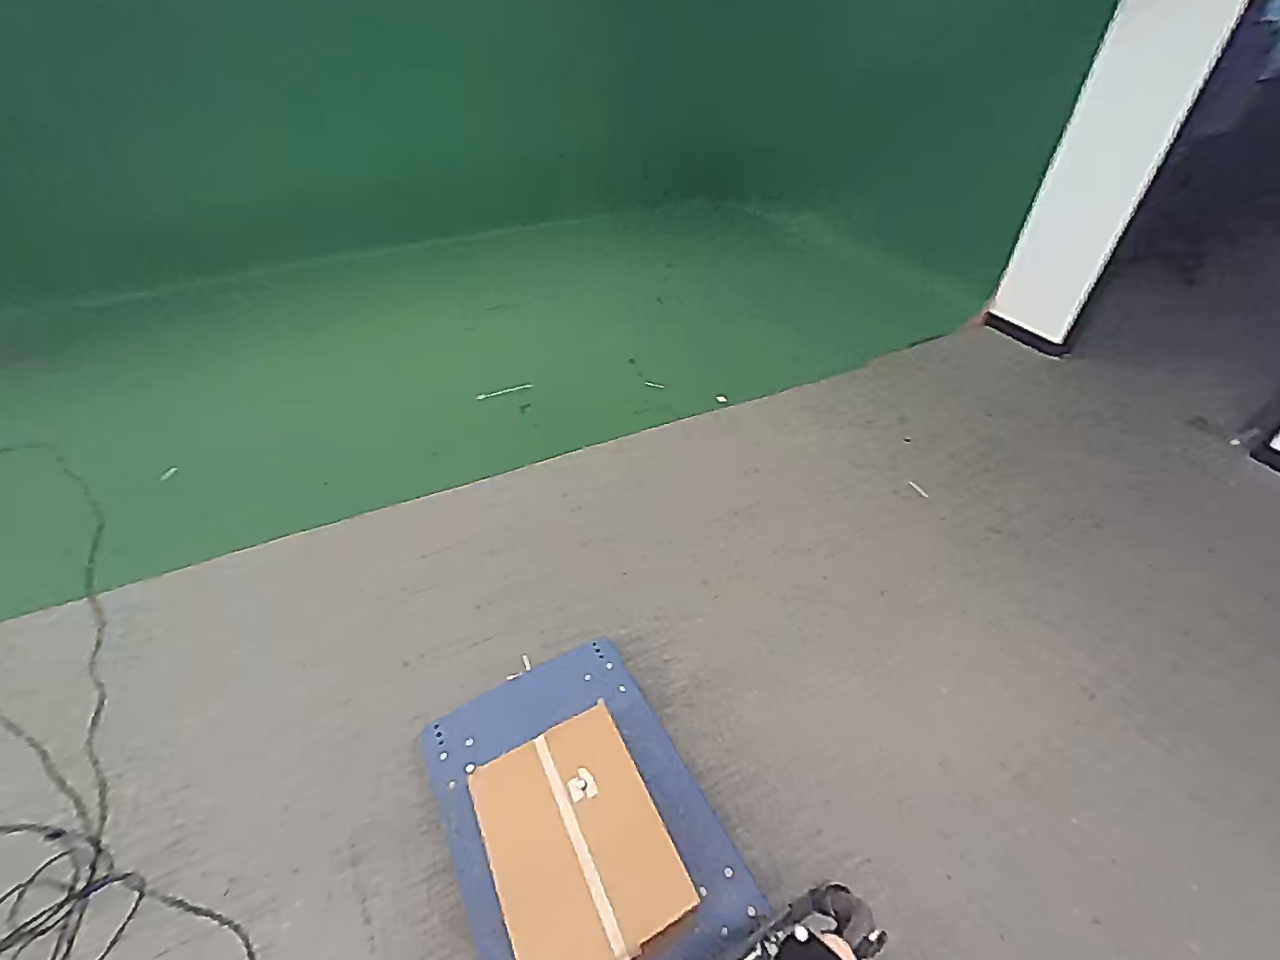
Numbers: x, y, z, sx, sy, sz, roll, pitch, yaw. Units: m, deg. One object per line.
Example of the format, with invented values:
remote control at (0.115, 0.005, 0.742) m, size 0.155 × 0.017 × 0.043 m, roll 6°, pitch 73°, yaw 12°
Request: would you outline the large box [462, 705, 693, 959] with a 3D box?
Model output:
large box at (-0.125, 0.769, 1.109) m, size 0.320 × 0.320 × 0.408 m, roll -21°, pitch 46°, yaw -19°
